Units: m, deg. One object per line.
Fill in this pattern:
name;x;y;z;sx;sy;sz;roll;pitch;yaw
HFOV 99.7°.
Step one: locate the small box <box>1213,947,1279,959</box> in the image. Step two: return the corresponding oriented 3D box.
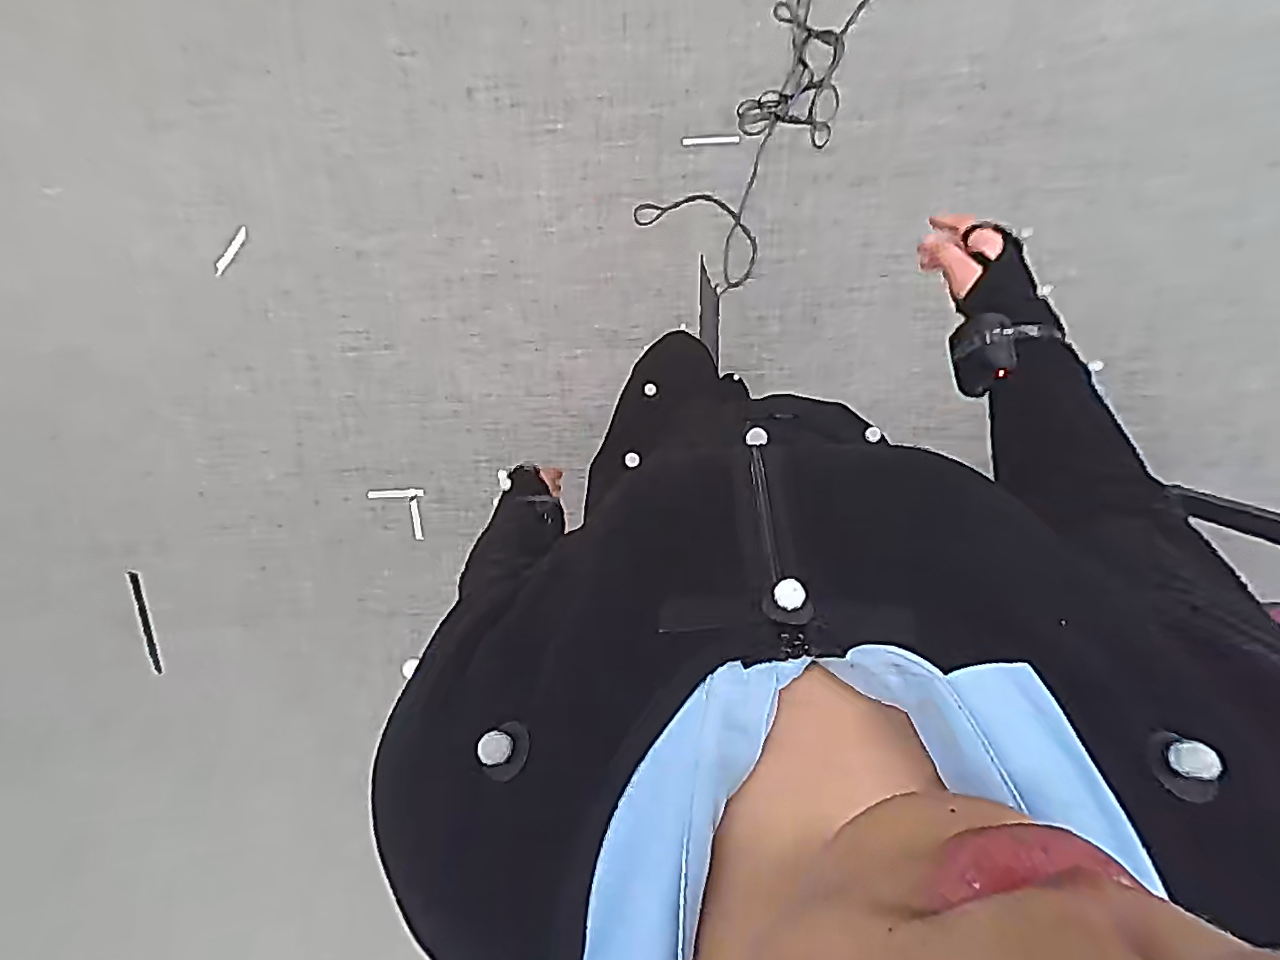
small box;0.956;0.817;0.767;0.168;0.176;0.179;2;103;6
